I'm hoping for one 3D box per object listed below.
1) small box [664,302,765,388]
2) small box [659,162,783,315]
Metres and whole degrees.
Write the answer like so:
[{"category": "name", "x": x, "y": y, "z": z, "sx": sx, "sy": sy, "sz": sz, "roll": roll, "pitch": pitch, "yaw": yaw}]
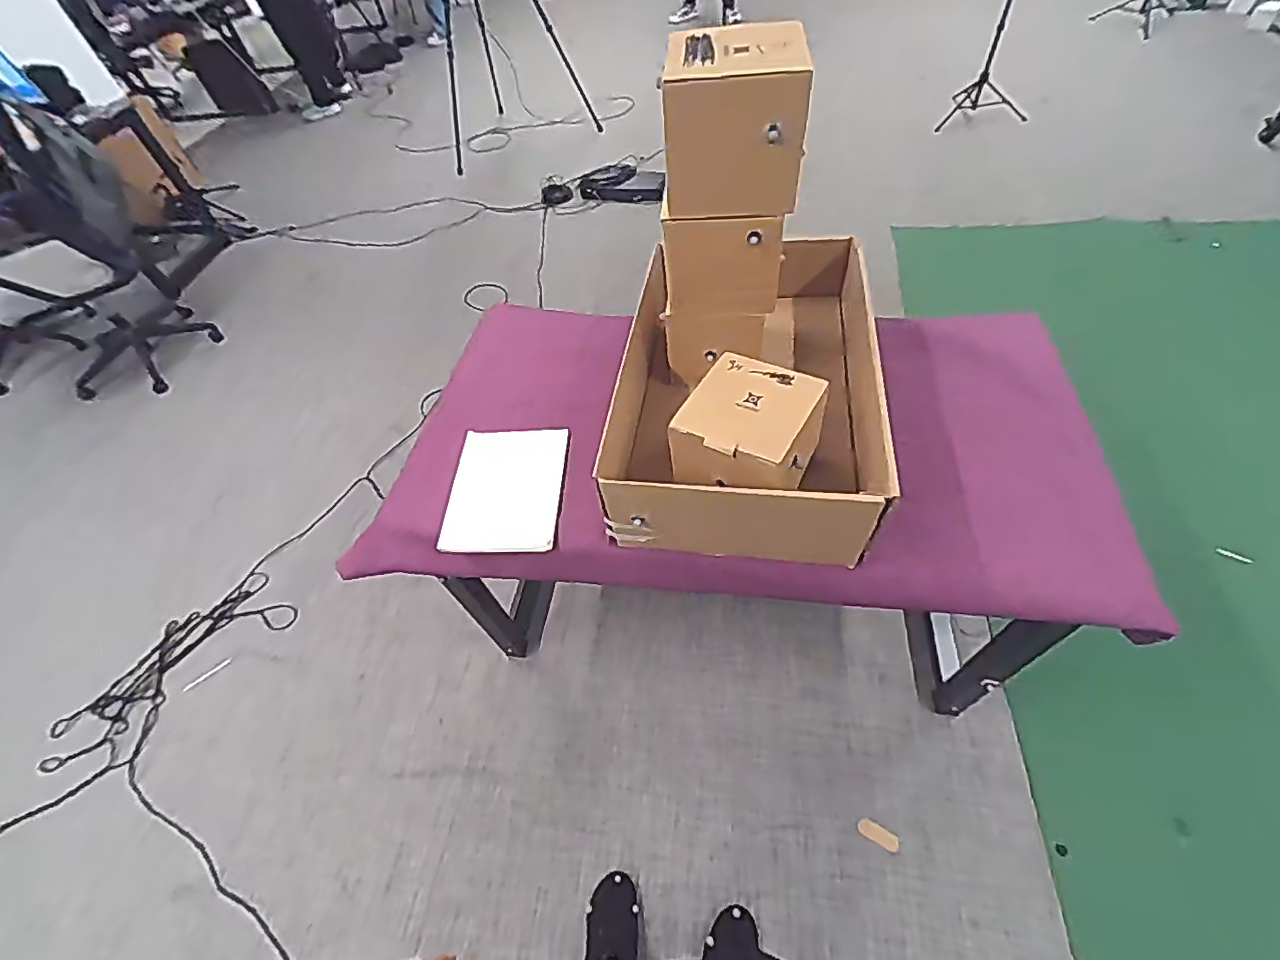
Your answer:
[{"category": "small box", "x": 0.144, "y": -0.288, "z": 0.997, "sx": 0.168, "sy": 0.176, "sz": 0.179, "roll": 4, "pitch": 55, "yaw": 11}, {"category": "small box", "x": 0.131, "y": -0.379, "z": 0.865, "sx": 0.179, "sy": 0.176, "sz": 0.168, "roll": 2, "pitch": 55, "yaw": 9}]
